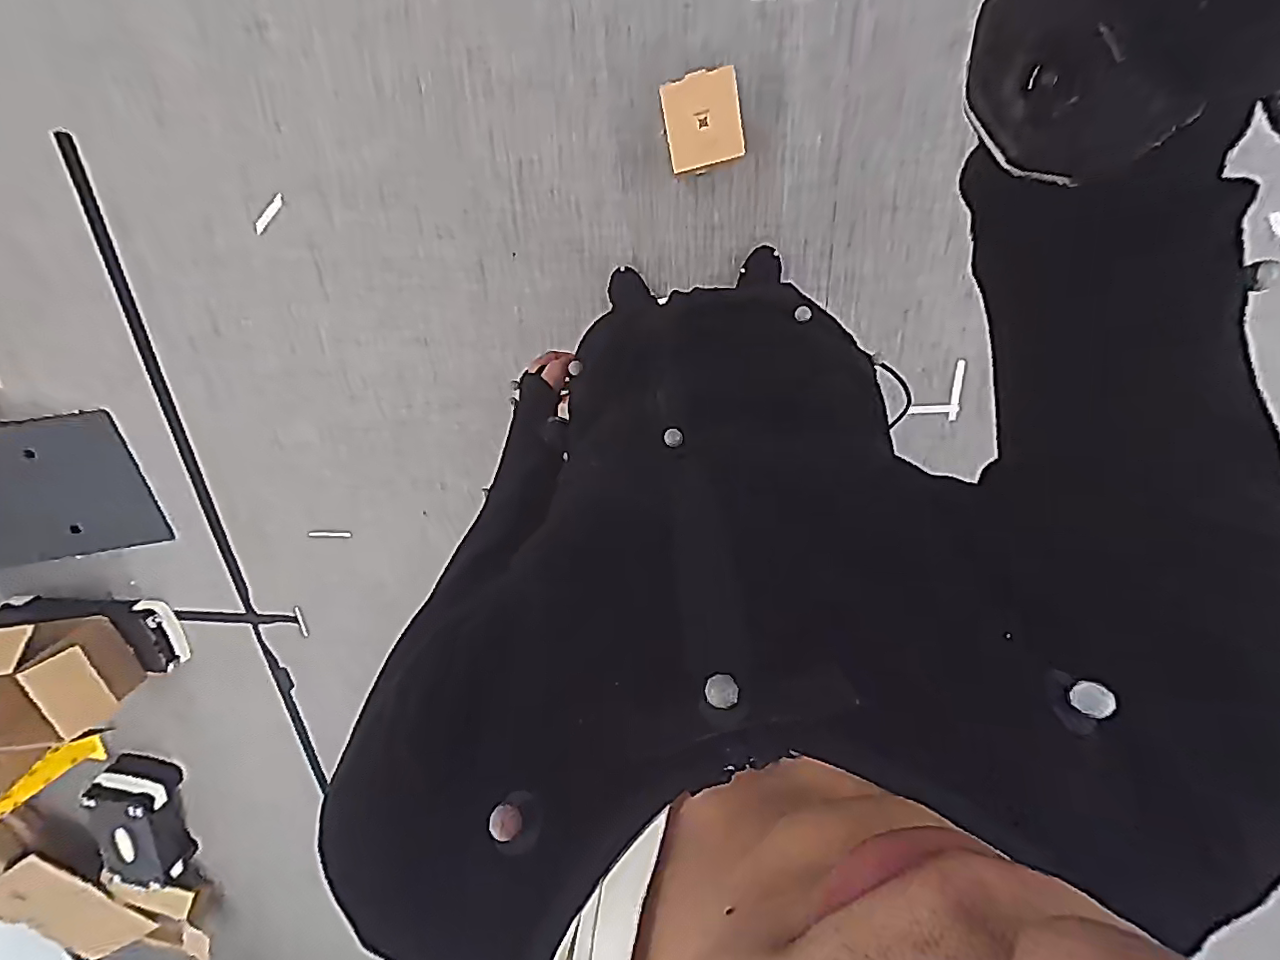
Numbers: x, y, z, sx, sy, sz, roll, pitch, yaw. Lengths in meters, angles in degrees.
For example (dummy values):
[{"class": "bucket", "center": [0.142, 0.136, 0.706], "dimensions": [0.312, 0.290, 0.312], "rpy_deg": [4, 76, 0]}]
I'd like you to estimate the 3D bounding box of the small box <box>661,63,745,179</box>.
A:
[{"class": "small box", "center": [0.144, -0.818, 1.251], "dimensions": [0.168, 0.176, 0.179], "rpy_deg": [-9, 113, 10]}]
